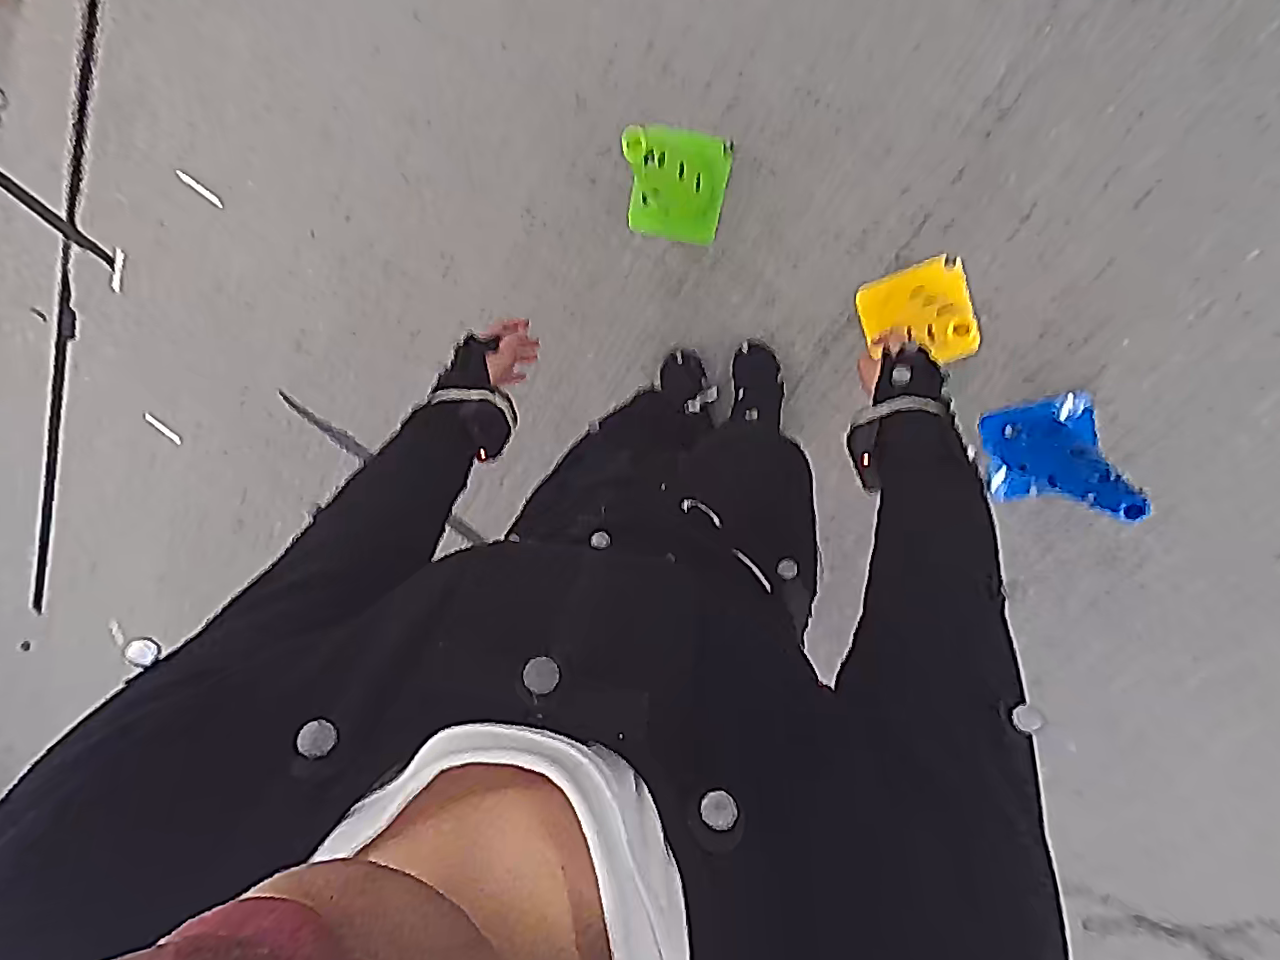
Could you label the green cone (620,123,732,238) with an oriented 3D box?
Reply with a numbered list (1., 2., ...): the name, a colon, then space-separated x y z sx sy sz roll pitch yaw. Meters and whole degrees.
1. green cone: 0.033 -0.581 0.997 0.200 0.368 0.202 16 113 11
